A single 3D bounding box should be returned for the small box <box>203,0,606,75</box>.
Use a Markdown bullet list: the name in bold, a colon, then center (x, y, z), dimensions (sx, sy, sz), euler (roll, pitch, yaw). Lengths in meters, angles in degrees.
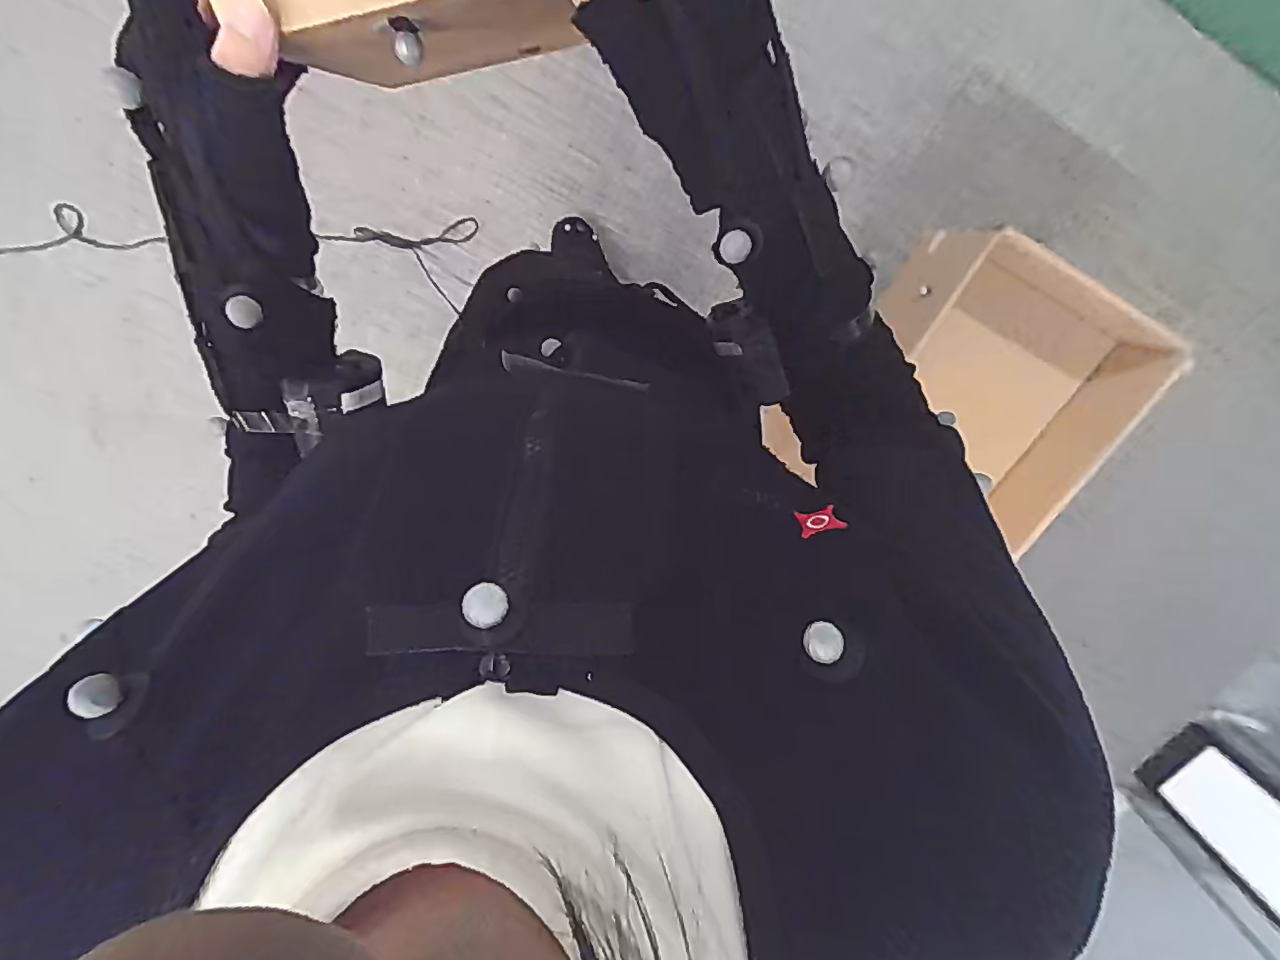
- **small box**: center (-0.112, -0.311, 0.238), dimensions (0.168, 0.176, 0.179), euler (-11, 121, 4)
